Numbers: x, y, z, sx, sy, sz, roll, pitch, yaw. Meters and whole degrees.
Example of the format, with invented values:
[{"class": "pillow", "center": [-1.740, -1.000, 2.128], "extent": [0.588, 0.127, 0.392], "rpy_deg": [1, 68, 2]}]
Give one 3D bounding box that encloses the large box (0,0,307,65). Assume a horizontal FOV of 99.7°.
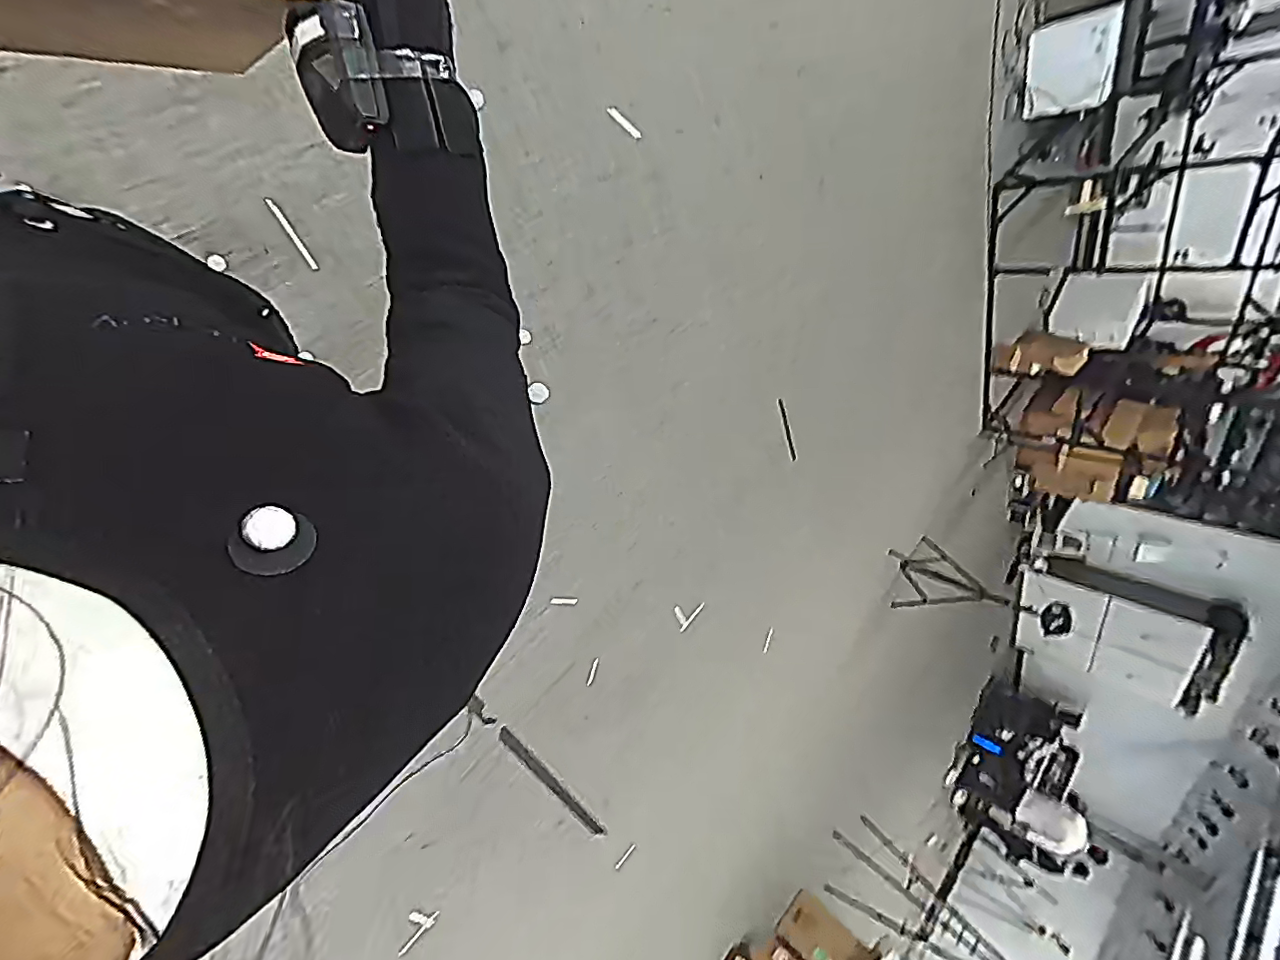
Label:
[{"class": "large box", "center": [-0.430, -0.405, 0.227], "extent": [0.408, 0.320, 0.320], "rpy_deg": [-23, 128, -36]}]
